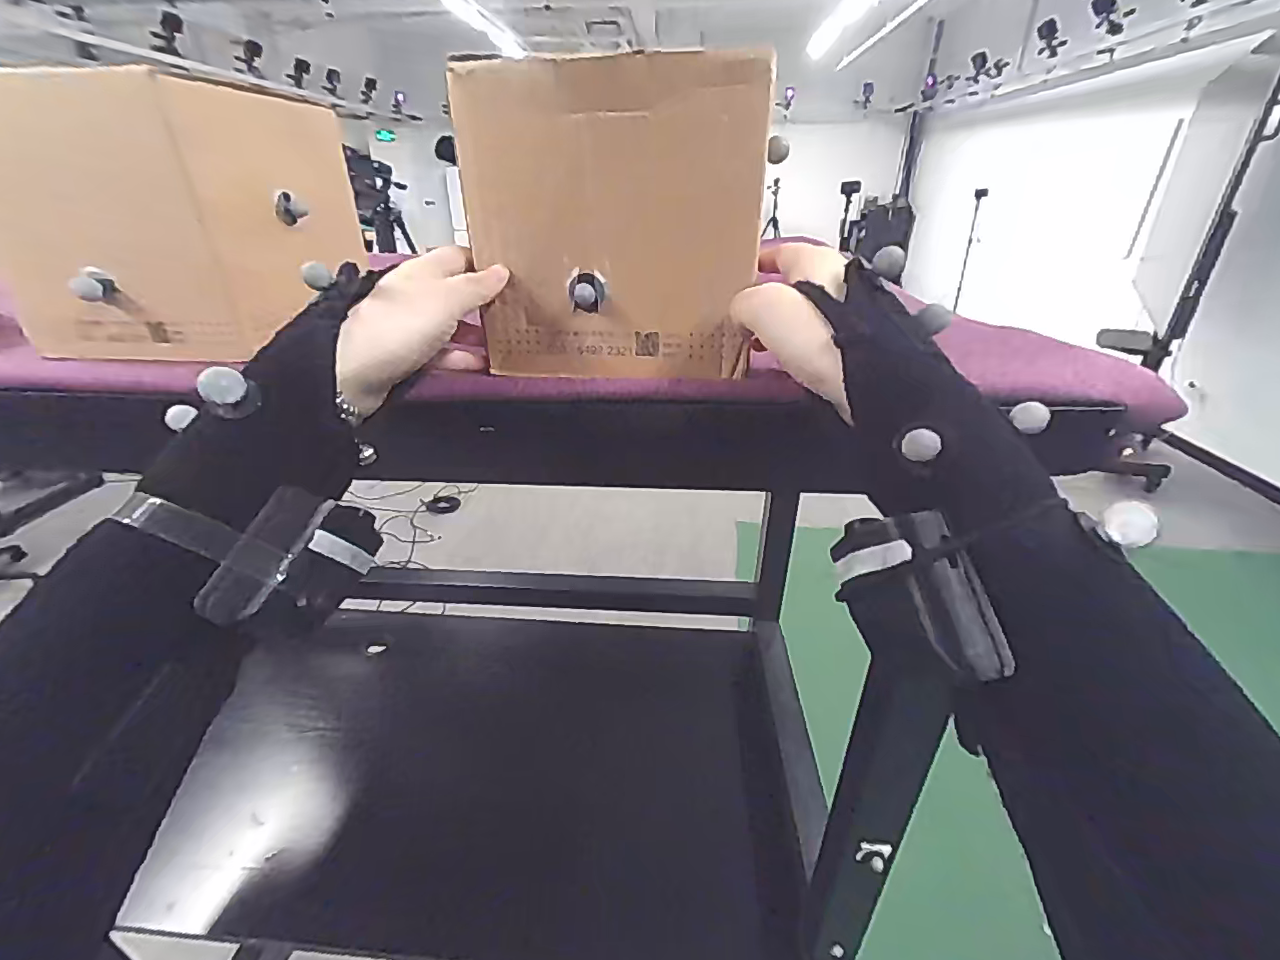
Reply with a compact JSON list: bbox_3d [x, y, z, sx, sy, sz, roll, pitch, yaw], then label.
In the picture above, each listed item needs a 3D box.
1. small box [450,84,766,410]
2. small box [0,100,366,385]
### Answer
[{"bbox_3d":[-0.007,-0.161,0.377,0.168,0.176,0.179,3,30,7],"label":"small box"},{"bbox_3d":[-0.341,-0.184,0.420,0.168,0.176,0.179,2,30,5],"label":"small box"}]
